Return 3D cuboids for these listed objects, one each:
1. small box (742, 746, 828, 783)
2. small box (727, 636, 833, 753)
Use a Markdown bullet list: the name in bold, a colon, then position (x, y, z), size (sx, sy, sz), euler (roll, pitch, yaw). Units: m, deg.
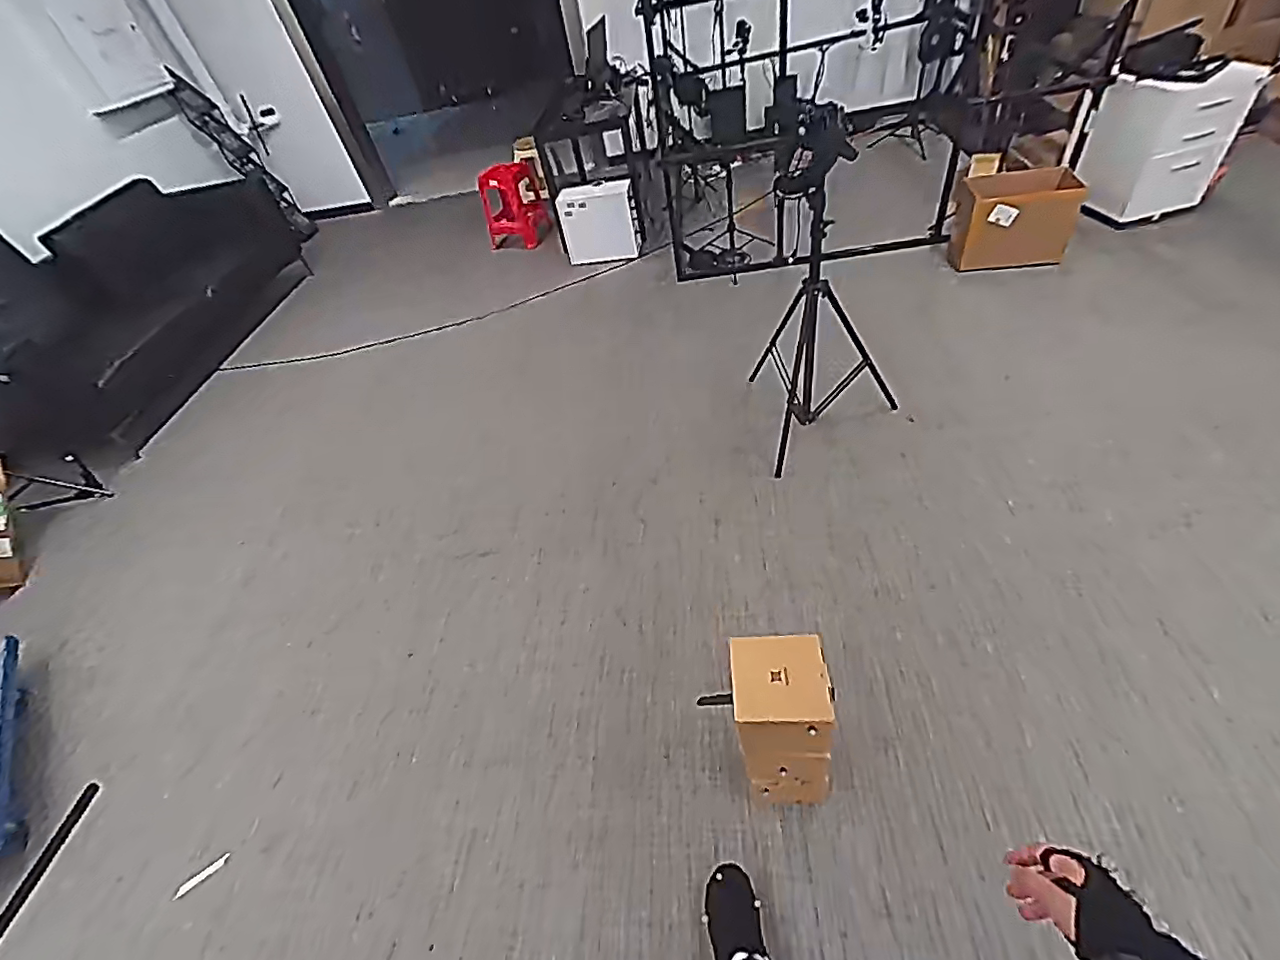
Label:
- **small box**: position (0.308, 0.535, 1.167), size (0.168, 0.176, 0.179), euler (-2, 45, 11)
- **small box**: position (0.269, 0.422, 1.056), size (0.179, 0.176, 0.168), euler (-5, 46, 9)
